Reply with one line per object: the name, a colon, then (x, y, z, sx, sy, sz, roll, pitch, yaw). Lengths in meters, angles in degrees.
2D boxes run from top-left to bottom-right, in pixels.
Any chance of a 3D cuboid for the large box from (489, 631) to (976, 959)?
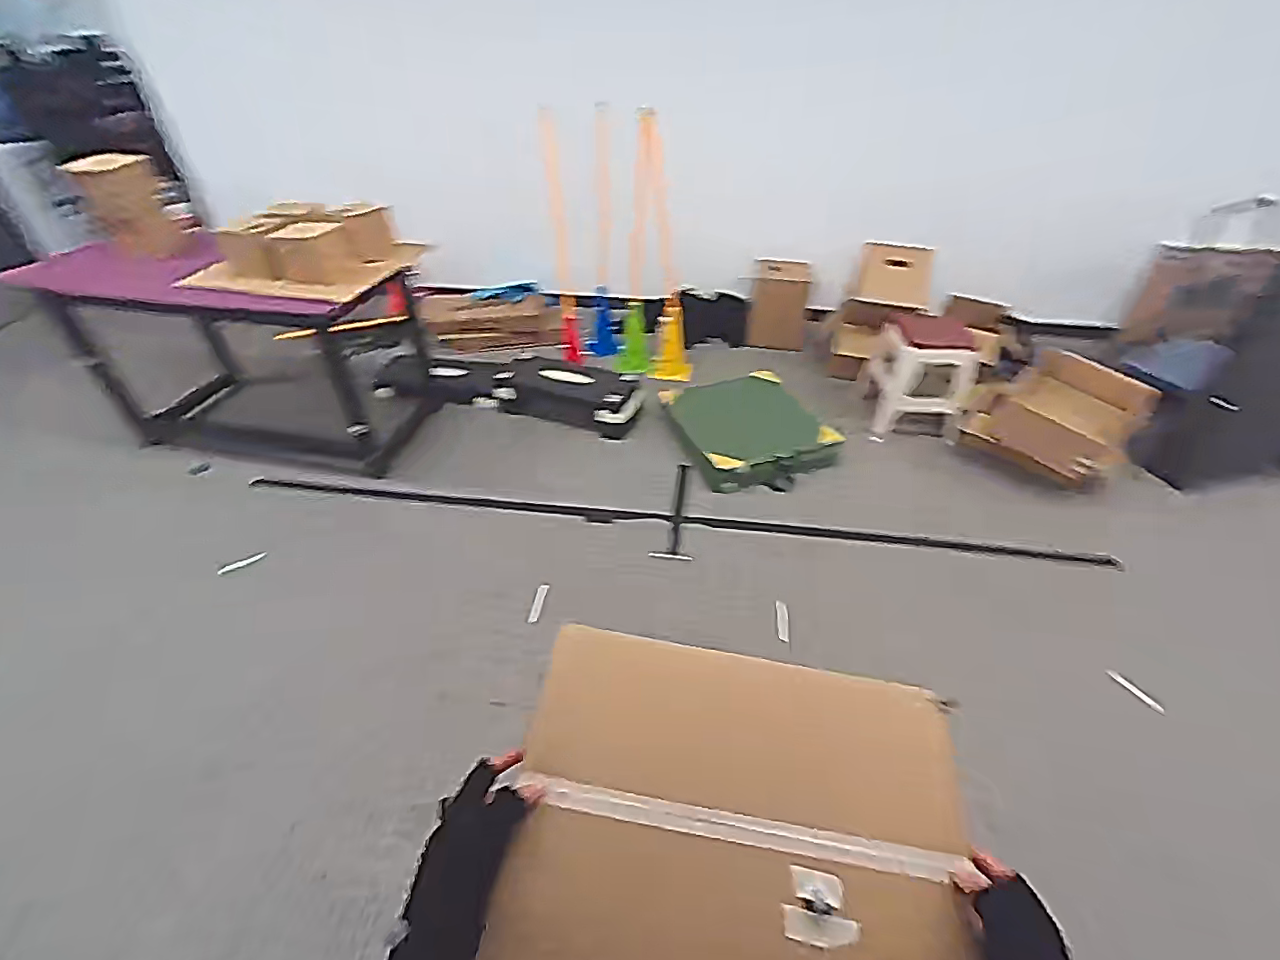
large box: (0.084, 0.406, 0.613, 0.408, 0.320, 0.320, 10, 53, 4)
